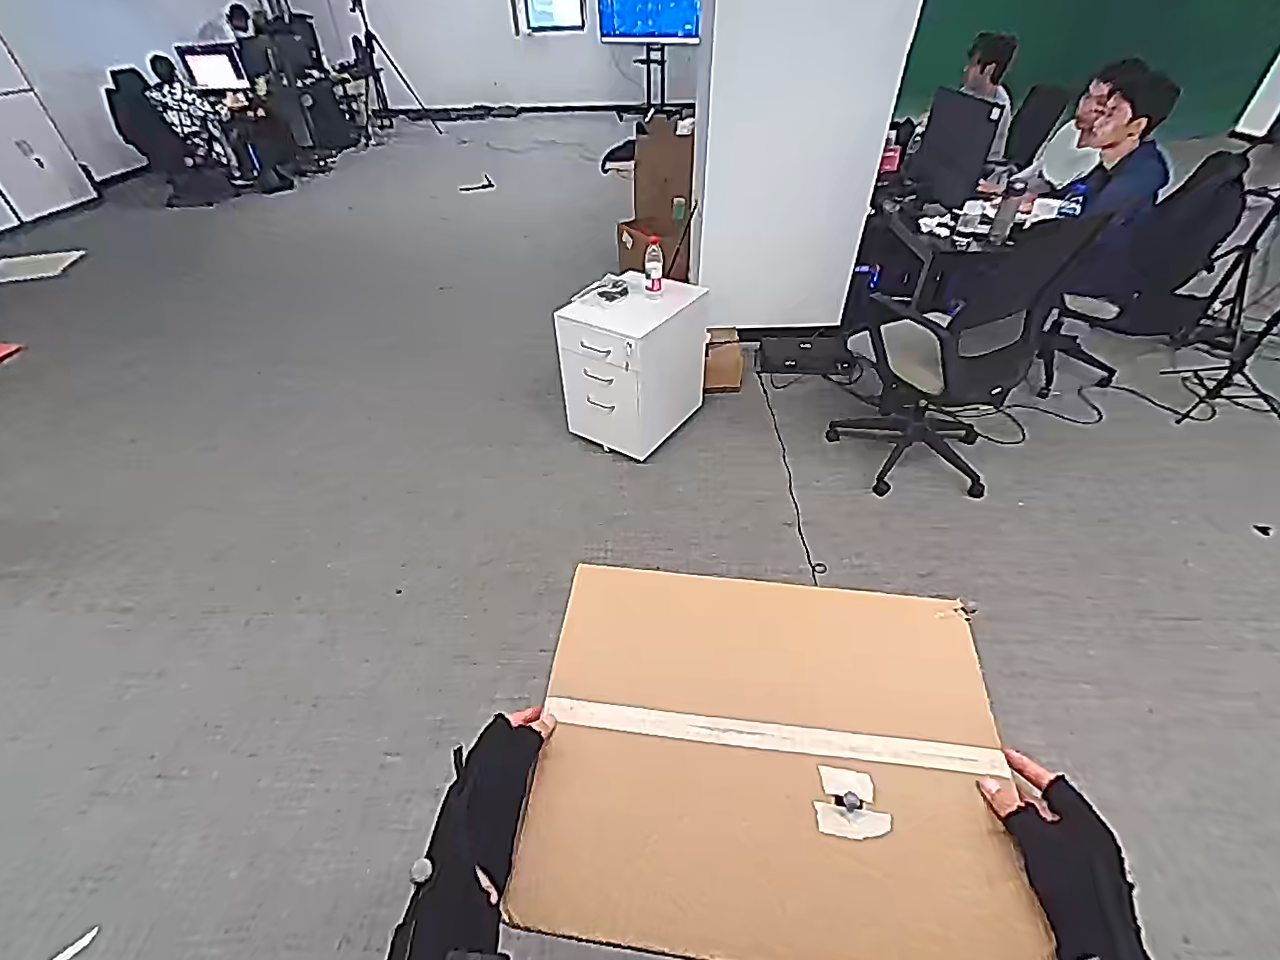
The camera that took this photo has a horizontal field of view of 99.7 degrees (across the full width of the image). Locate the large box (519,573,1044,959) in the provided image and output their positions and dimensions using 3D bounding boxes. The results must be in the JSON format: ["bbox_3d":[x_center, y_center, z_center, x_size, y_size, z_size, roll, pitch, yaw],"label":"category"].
[{"bbox_3d":[0.118,0.331,0.614,0.408,0.320,0.320,5,51,6],"label":"large box"}]
